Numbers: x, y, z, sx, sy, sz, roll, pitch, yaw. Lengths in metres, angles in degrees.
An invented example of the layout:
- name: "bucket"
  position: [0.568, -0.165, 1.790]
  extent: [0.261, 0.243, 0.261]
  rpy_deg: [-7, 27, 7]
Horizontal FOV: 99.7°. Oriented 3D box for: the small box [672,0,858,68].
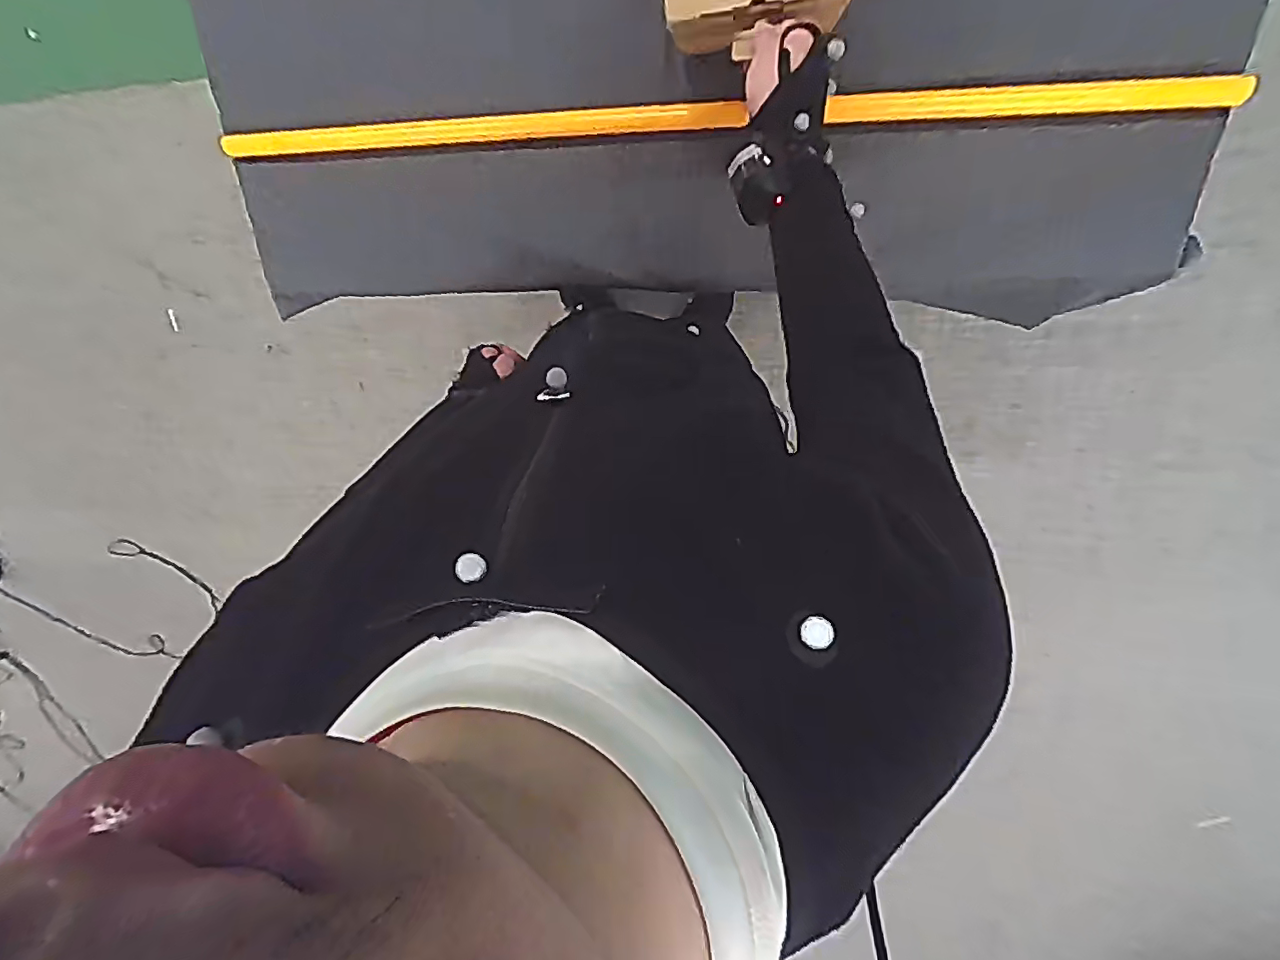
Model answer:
- name: "small box"
  position: [0.117, -0.522, 0.518]
  extent: [0.168, 0.176, 0.179]
  rpy_deg: [-2, 117, 14]
